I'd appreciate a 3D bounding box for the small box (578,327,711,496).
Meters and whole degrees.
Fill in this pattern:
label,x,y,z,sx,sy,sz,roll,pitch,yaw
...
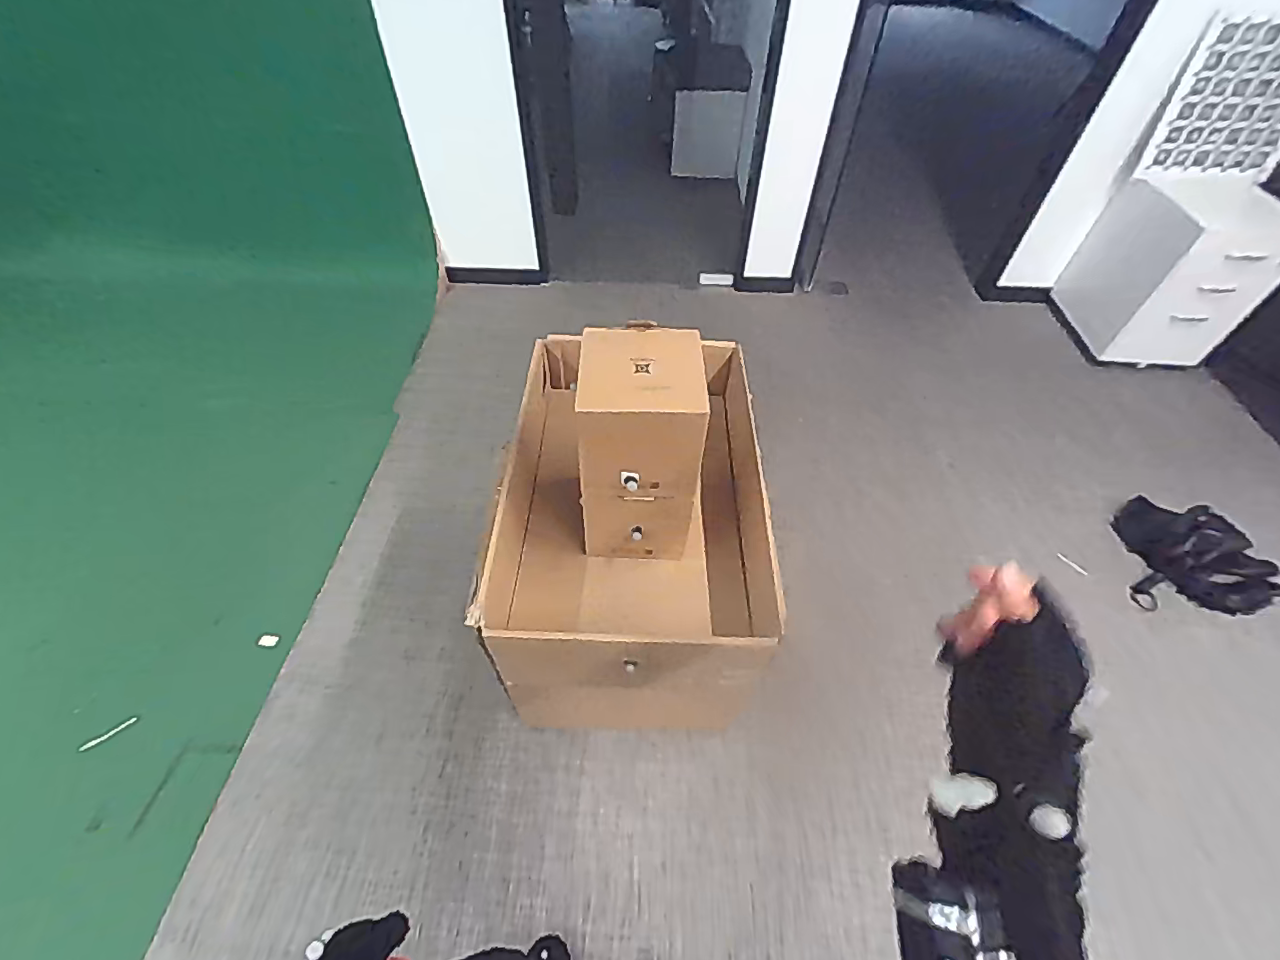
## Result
label,x,y,z,sx,sy,sz,roll,pitch,yaw
small box,0.003,-0.096,0.770,0.168,0.176,0.179,0,50,-1
